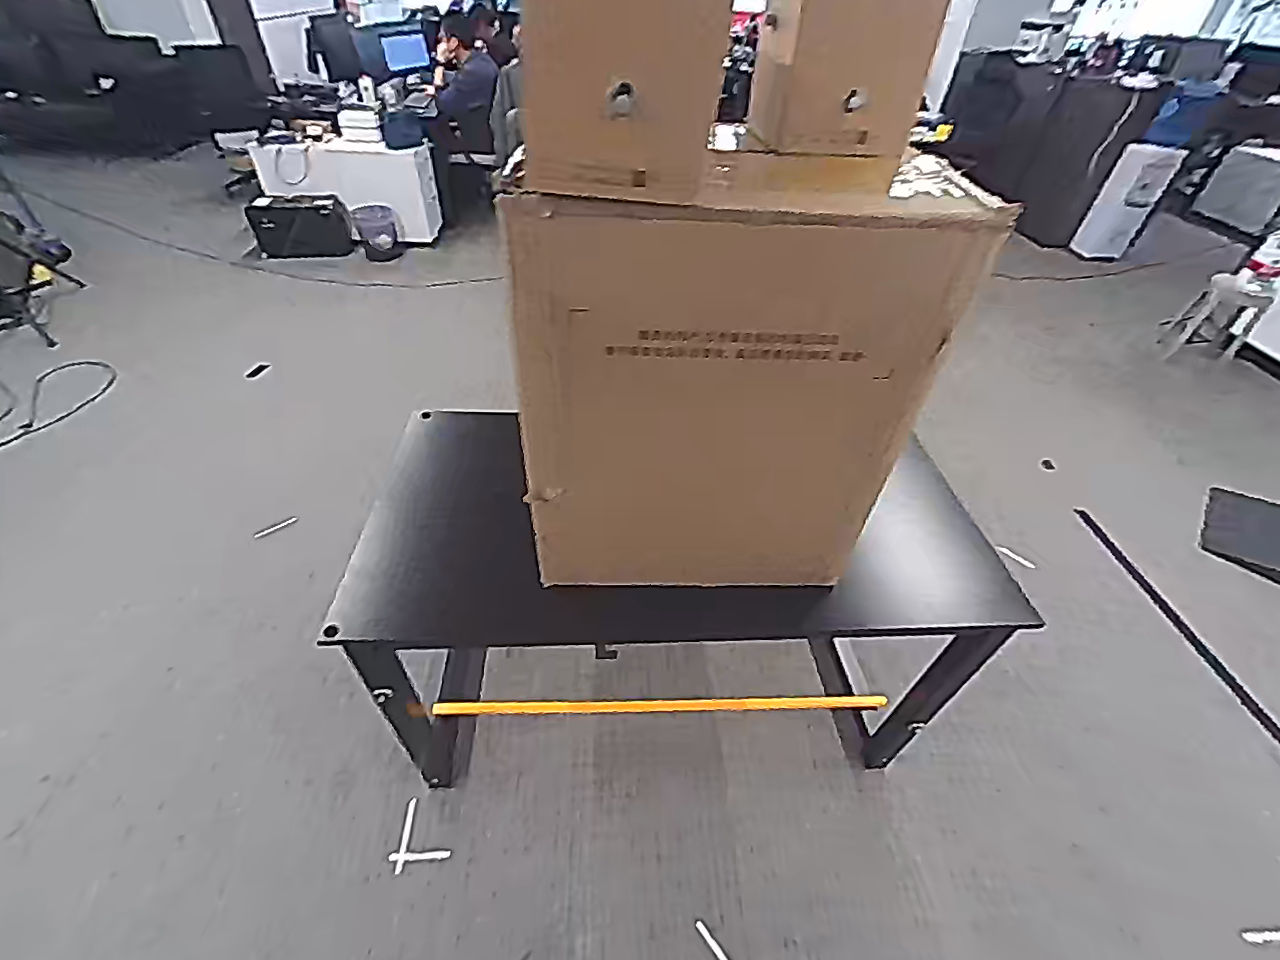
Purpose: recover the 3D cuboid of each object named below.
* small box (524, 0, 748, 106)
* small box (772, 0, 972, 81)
[{"bbox_3d":[-0.007,-0.416,0.425,0.168,0.176,0.179,0,46,-10],"label":"small box"},{"bbox_3d":[0.259,-0.563,0.604,0.168,0.176,0.179,-2,41,-5],"label":"small box"}]
